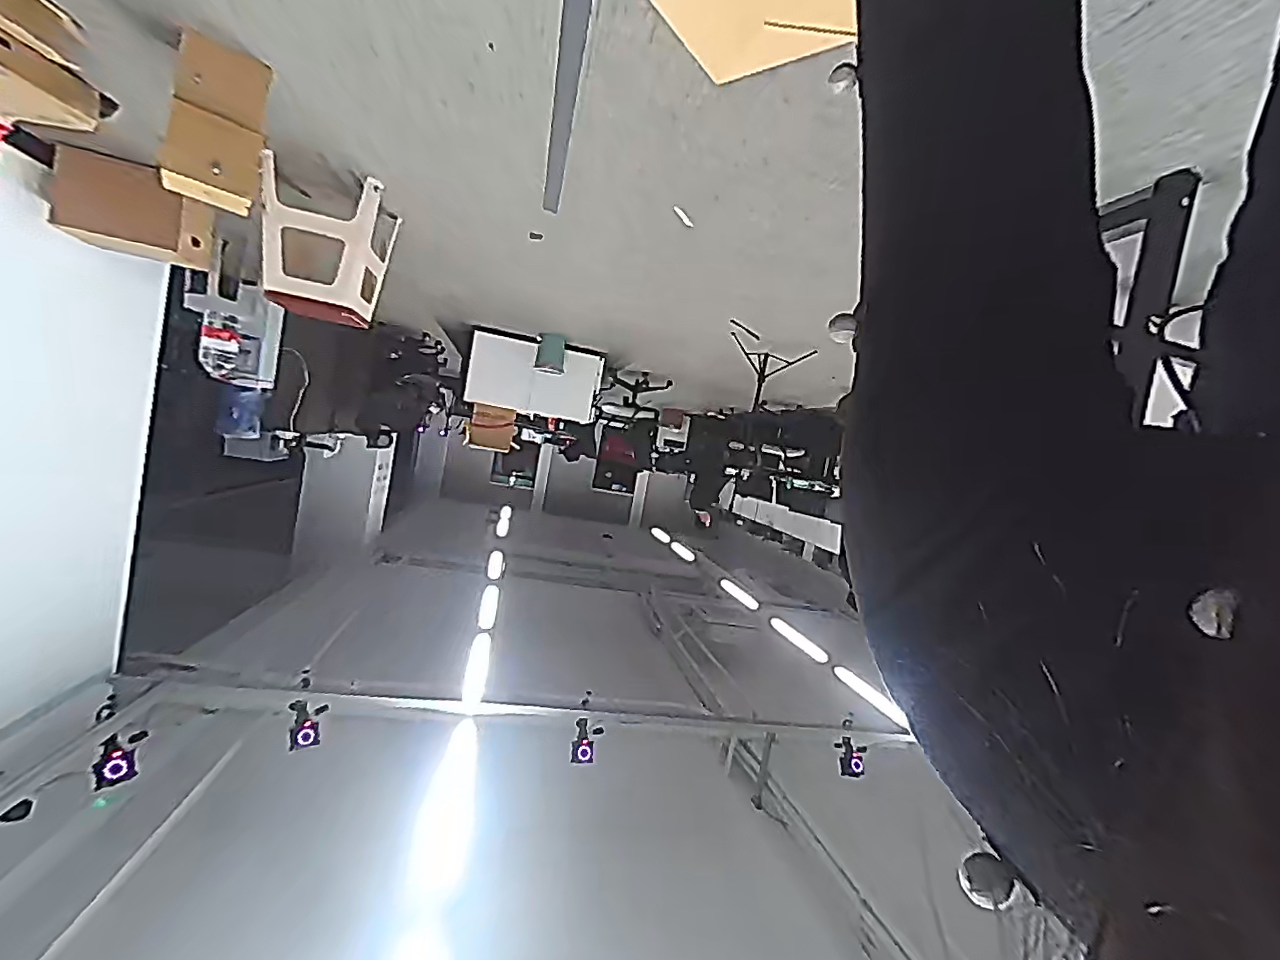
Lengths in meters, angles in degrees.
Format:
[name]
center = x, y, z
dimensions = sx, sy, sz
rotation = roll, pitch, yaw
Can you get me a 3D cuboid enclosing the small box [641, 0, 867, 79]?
[small box]
center = 0.118, -0.529, 0.513
dimensions = 0.179, 0.176, 0.168
rotation = 13, -177, 39
